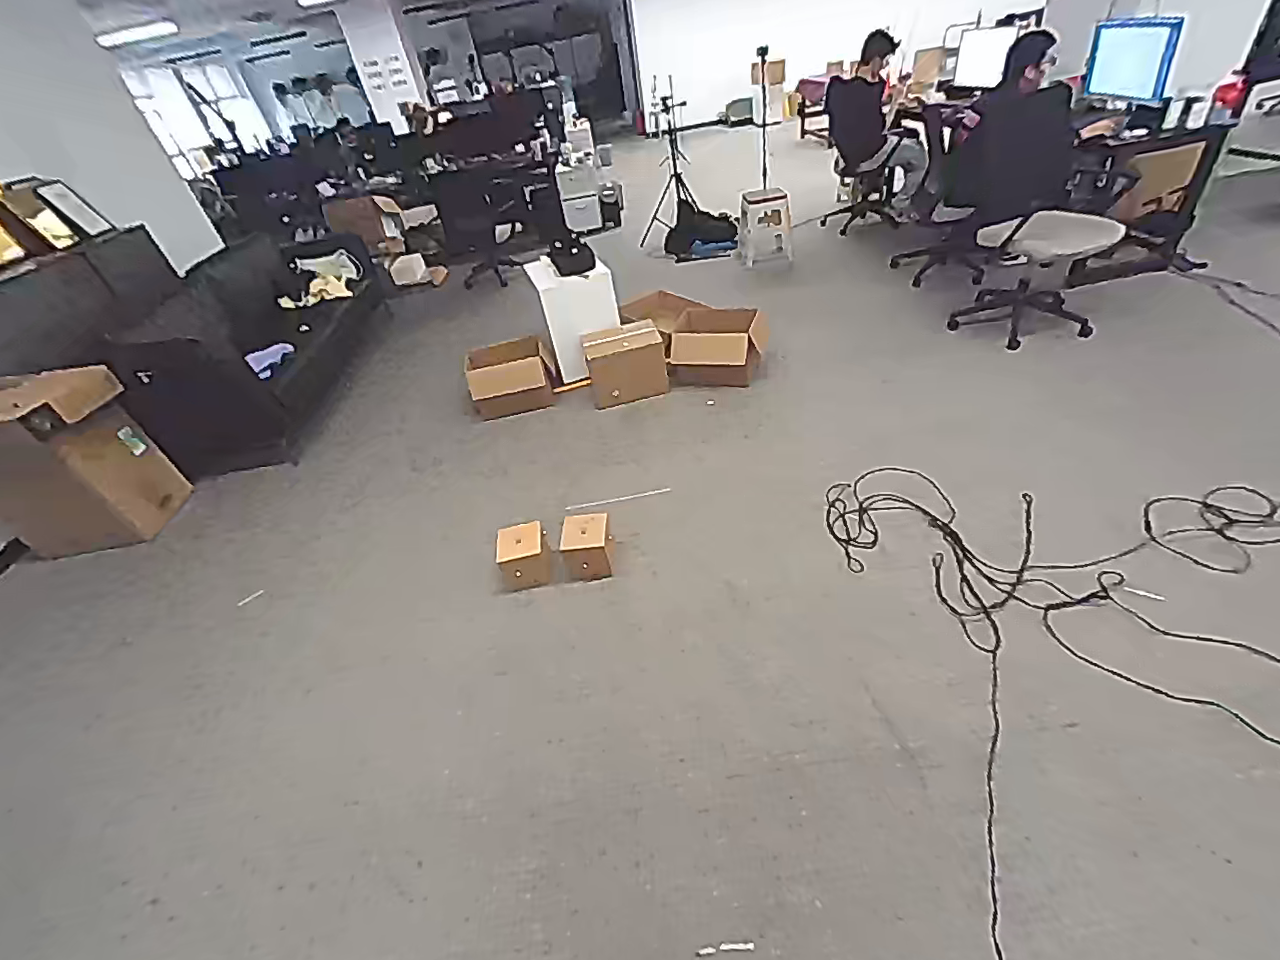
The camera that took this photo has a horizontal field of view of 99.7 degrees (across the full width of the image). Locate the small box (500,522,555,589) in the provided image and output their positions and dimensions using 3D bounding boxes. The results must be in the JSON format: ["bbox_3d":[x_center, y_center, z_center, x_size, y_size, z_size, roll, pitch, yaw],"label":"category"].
[{"bbox_3d":[-0.423,0.292,2.045,0.168,0.176,0.179,-14,38,-2],"label":"small box"}]

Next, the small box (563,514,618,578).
[{"bbox_3d":[-0.181,0.253,2.027,0.168,0.176,0.179,-6,39,7],"label":"small box"}]
